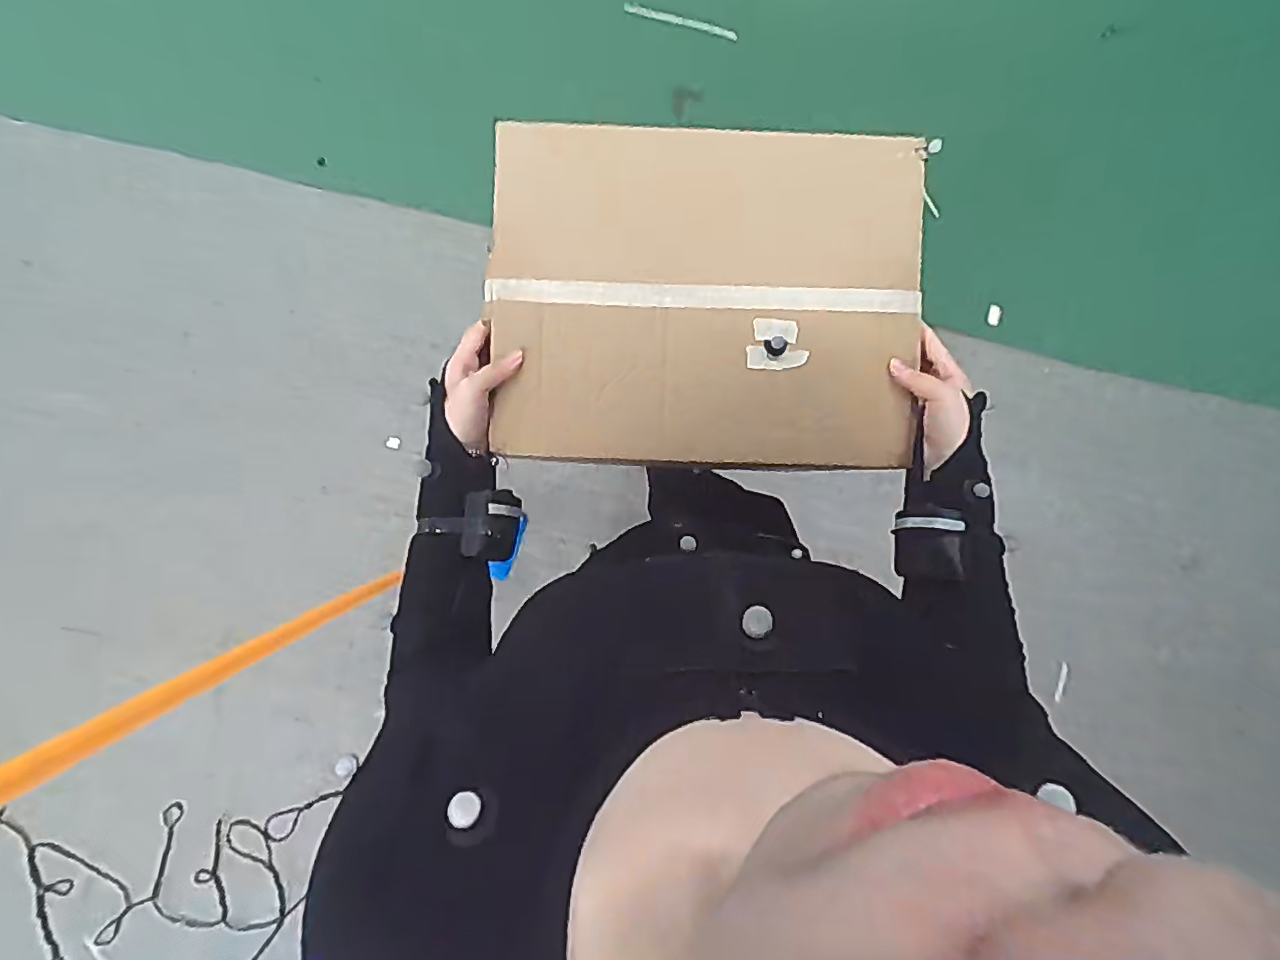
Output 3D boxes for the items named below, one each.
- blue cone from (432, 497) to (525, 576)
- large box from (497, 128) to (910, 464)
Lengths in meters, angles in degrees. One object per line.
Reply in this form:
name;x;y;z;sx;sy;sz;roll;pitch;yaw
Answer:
blue cone;-0.423;0.155;1.314;0.193;0.380;0.192;21;89;-1
large box;0.056;-0.181;0.667;0.408;0.320;0.320;1;91;-2
